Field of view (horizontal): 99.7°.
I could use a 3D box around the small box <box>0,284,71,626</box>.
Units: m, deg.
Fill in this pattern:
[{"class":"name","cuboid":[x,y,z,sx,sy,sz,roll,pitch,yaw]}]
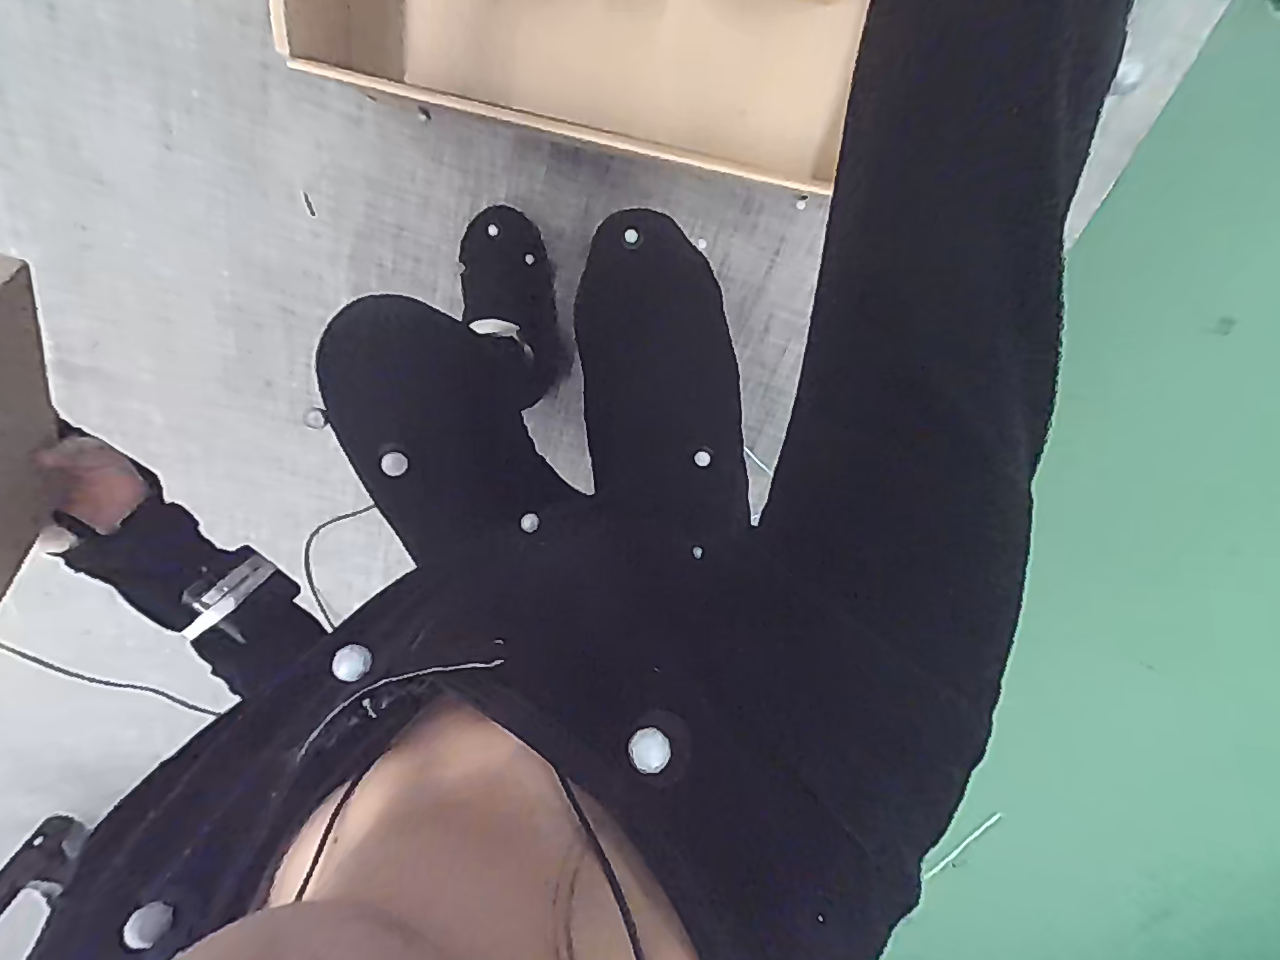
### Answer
[{"class":"small box","cuboid":[-0.411,-0.011,0.249,0.168,0.176,0.179,10,128,-32]}]
